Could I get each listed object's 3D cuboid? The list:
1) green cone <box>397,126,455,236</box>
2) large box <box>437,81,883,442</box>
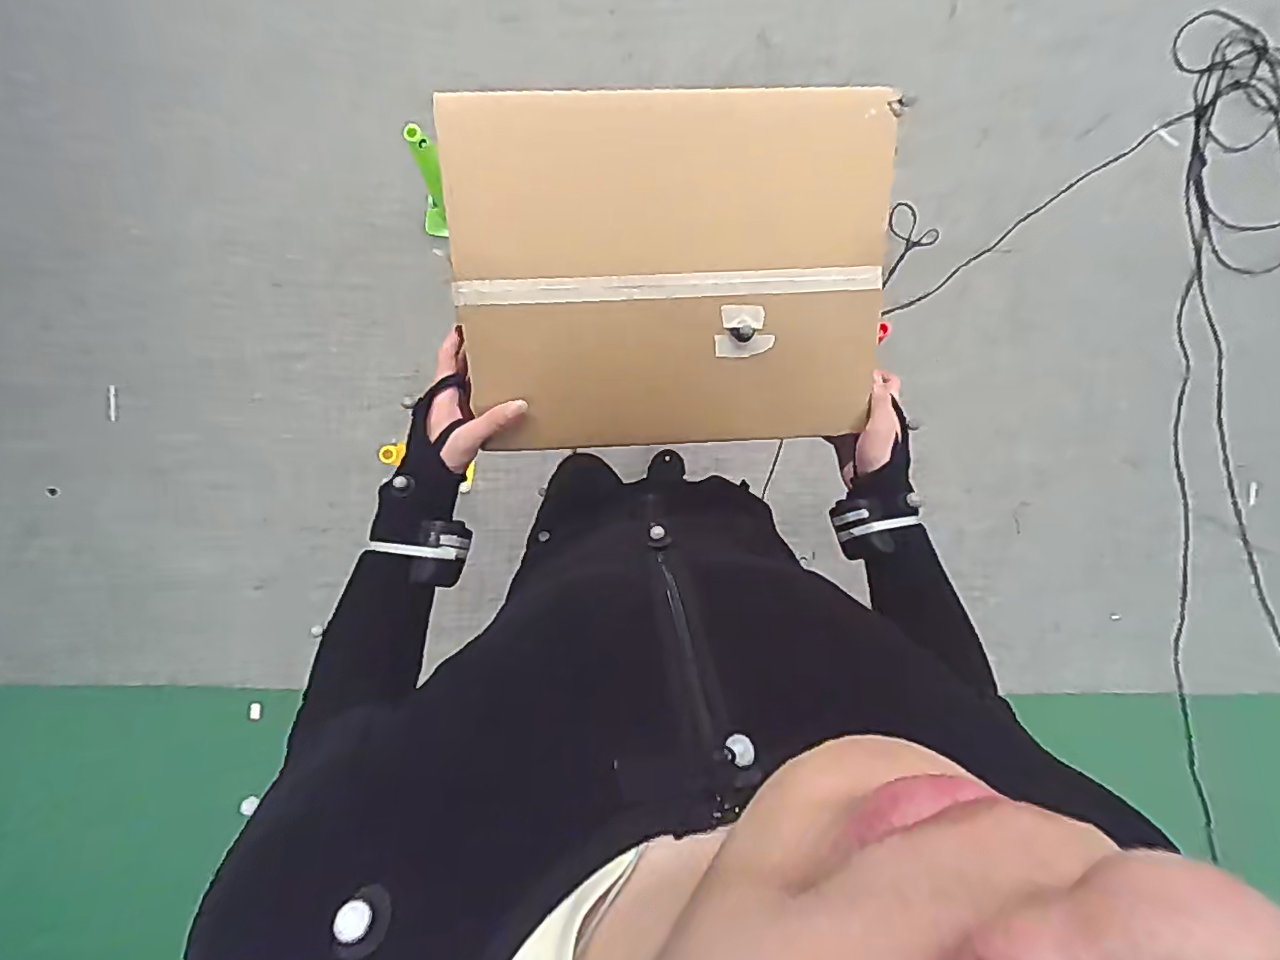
[{"bbox_3d":[-0.546,-0.818,1.432,0.200,0.368,0.202,6,93,0],"label":"green cone"},{"bbox_3d":[0.016,-0.244,0.660,0.408,0.320,0.320,-4,109,-4],"label":"large box"}]
